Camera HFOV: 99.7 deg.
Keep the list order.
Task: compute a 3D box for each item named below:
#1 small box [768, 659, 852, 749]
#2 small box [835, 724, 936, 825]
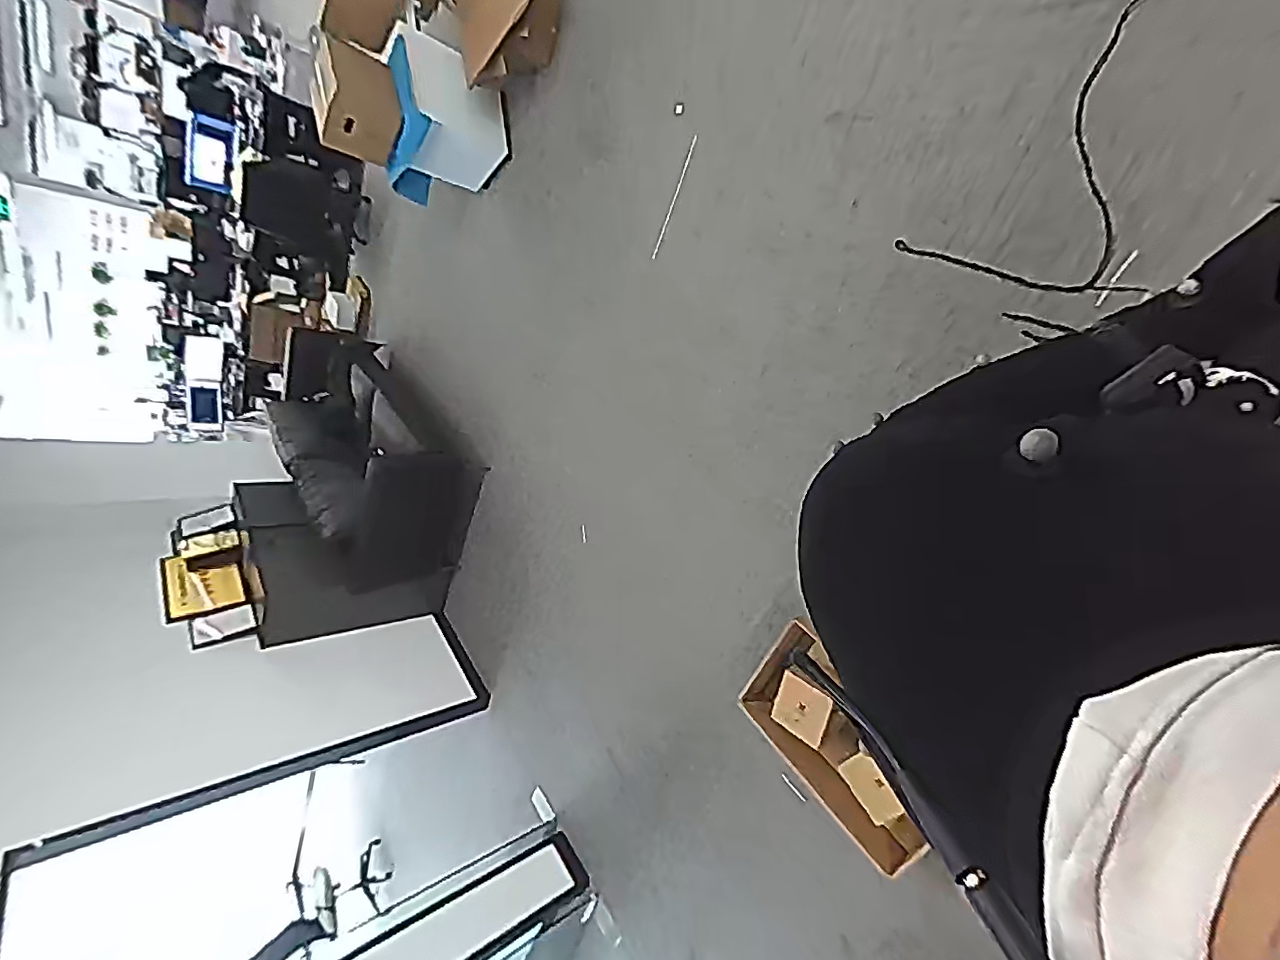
[{"bbox_3d":[0.529,0.678,1.663,0.168,0.176,0.179,26,109,42],"label":"small box"},{"bbox_3d":[0.688,0.811,1.503,0.168,0.176,0.179,56,128,30],"label":"small box"}]
